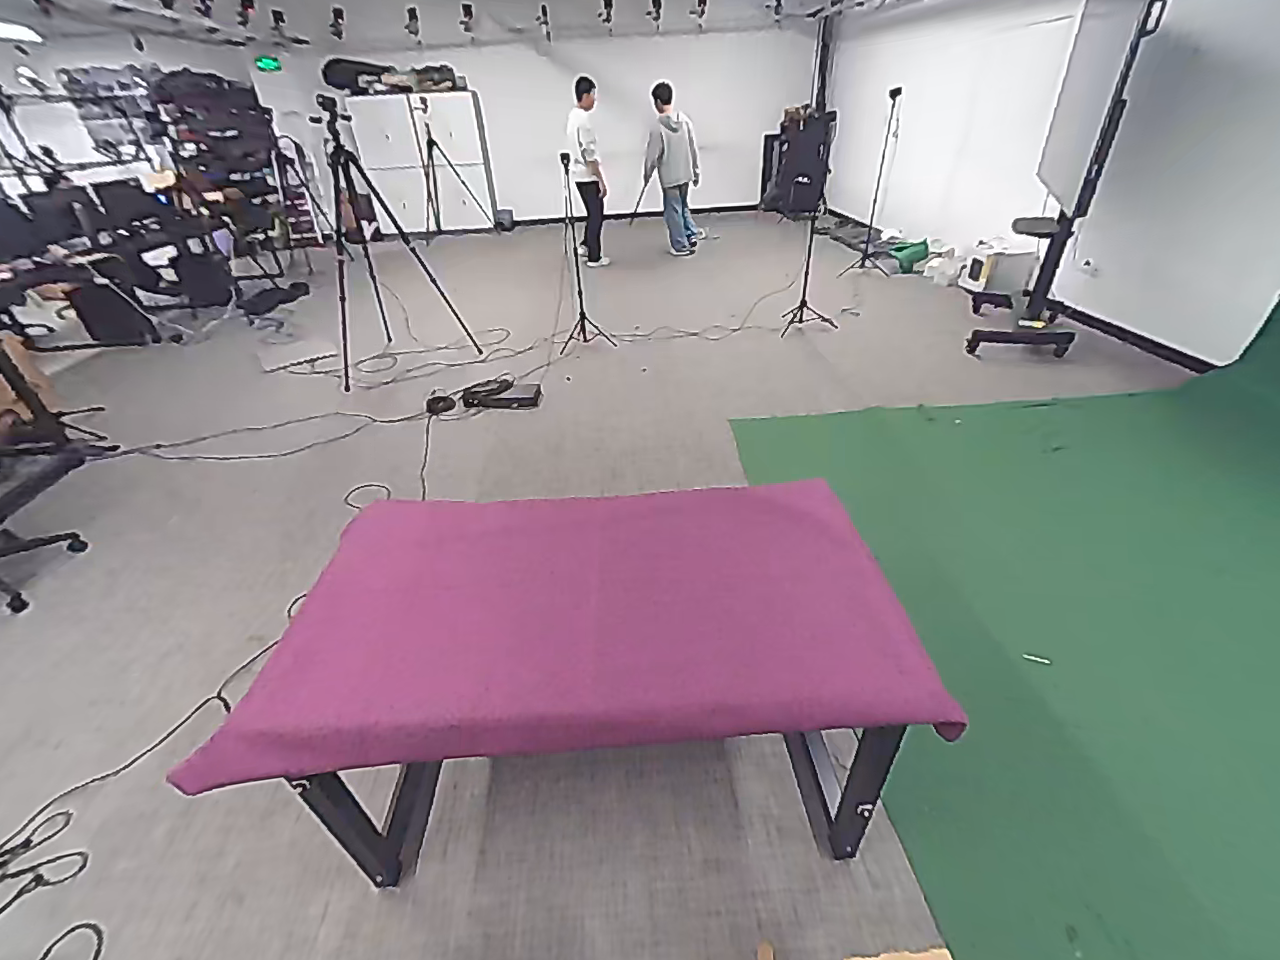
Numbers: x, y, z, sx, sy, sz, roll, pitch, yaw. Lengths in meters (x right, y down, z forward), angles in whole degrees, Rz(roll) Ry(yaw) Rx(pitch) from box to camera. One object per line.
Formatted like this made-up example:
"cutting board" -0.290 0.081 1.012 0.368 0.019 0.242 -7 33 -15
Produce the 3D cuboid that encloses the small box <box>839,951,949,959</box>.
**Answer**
"small box" 0.386 0.830 0.791 0.168 0.176 0.179 -3 36 -2
